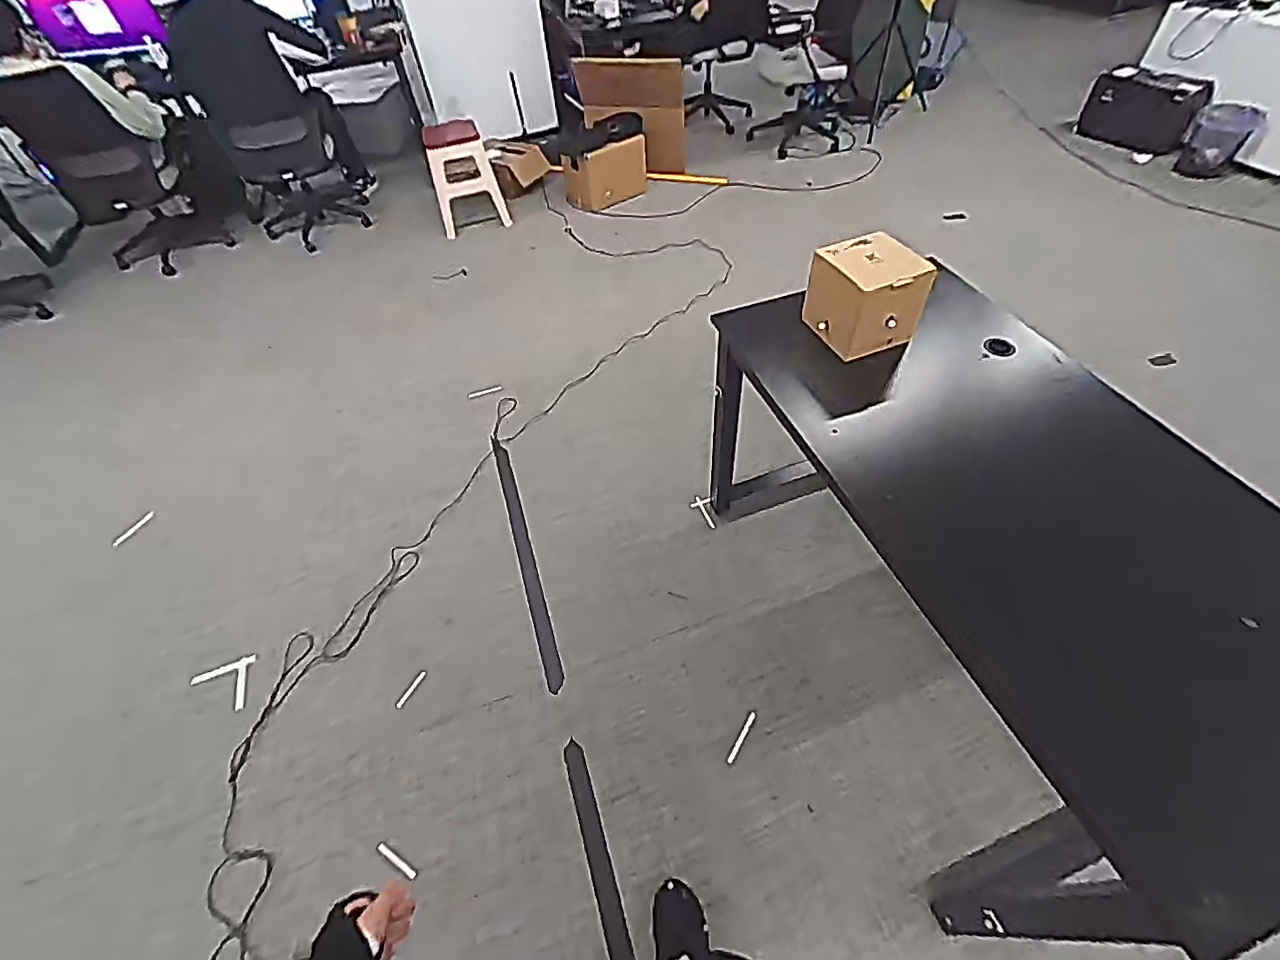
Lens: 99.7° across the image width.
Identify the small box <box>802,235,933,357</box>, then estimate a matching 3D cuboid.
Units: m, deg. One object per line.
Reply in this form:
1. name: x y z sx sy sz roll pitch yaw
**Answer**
1. small box: 0.468 -0.380 1.140 0.168 0.176 0.179 -19 53 -11
